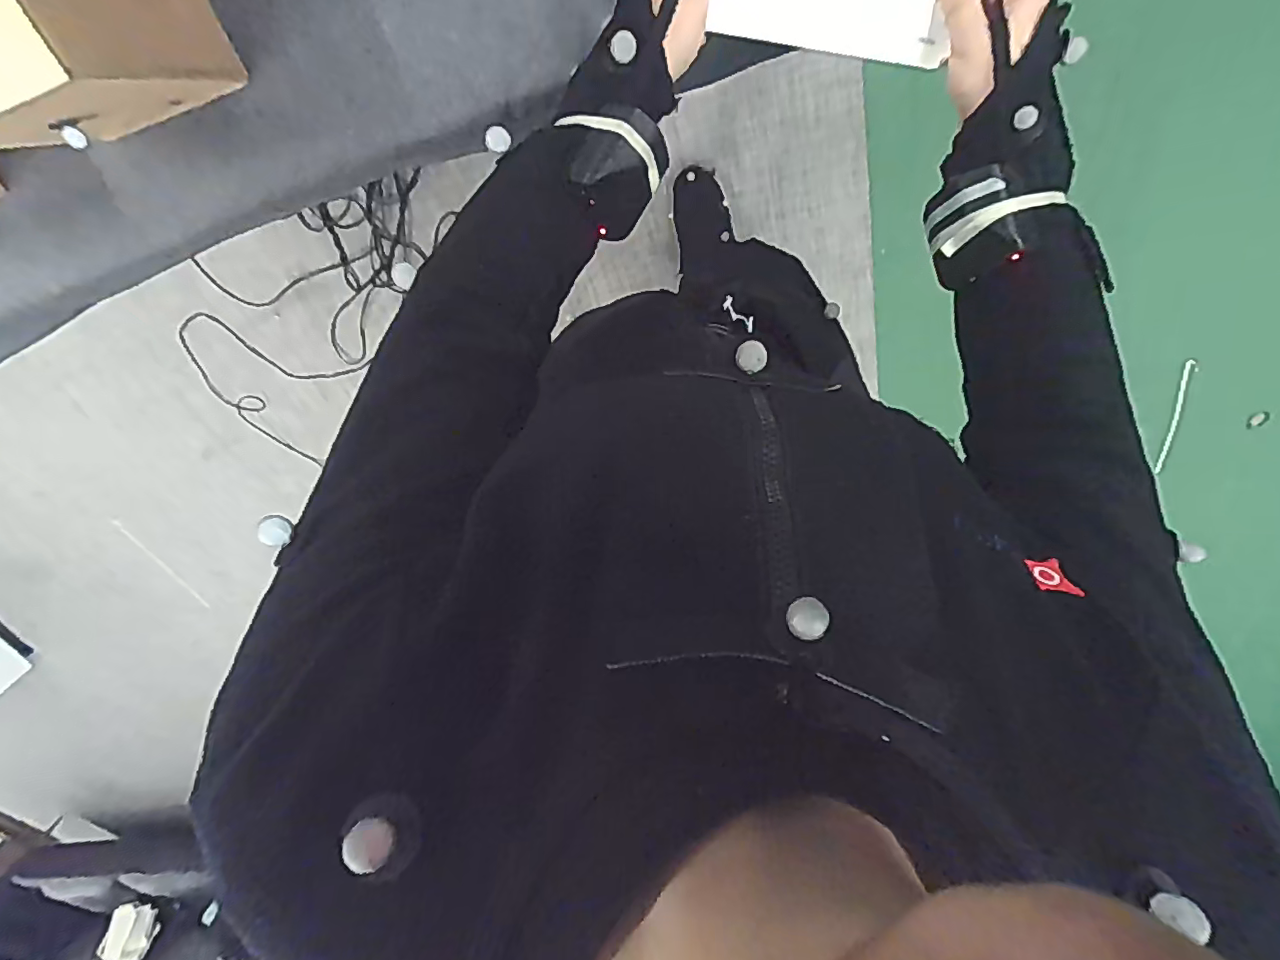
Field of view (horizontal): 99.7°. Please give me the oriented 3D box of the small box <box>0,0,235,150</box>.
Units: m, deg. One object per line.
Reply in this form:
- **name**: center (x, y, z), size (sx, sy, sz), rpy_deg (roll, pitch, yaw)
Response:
- **small box**: center (-0.438, -0.341, 0.365), size (0.168, 0.176, 0.179), rpy_deg (-9, 123, 13)
